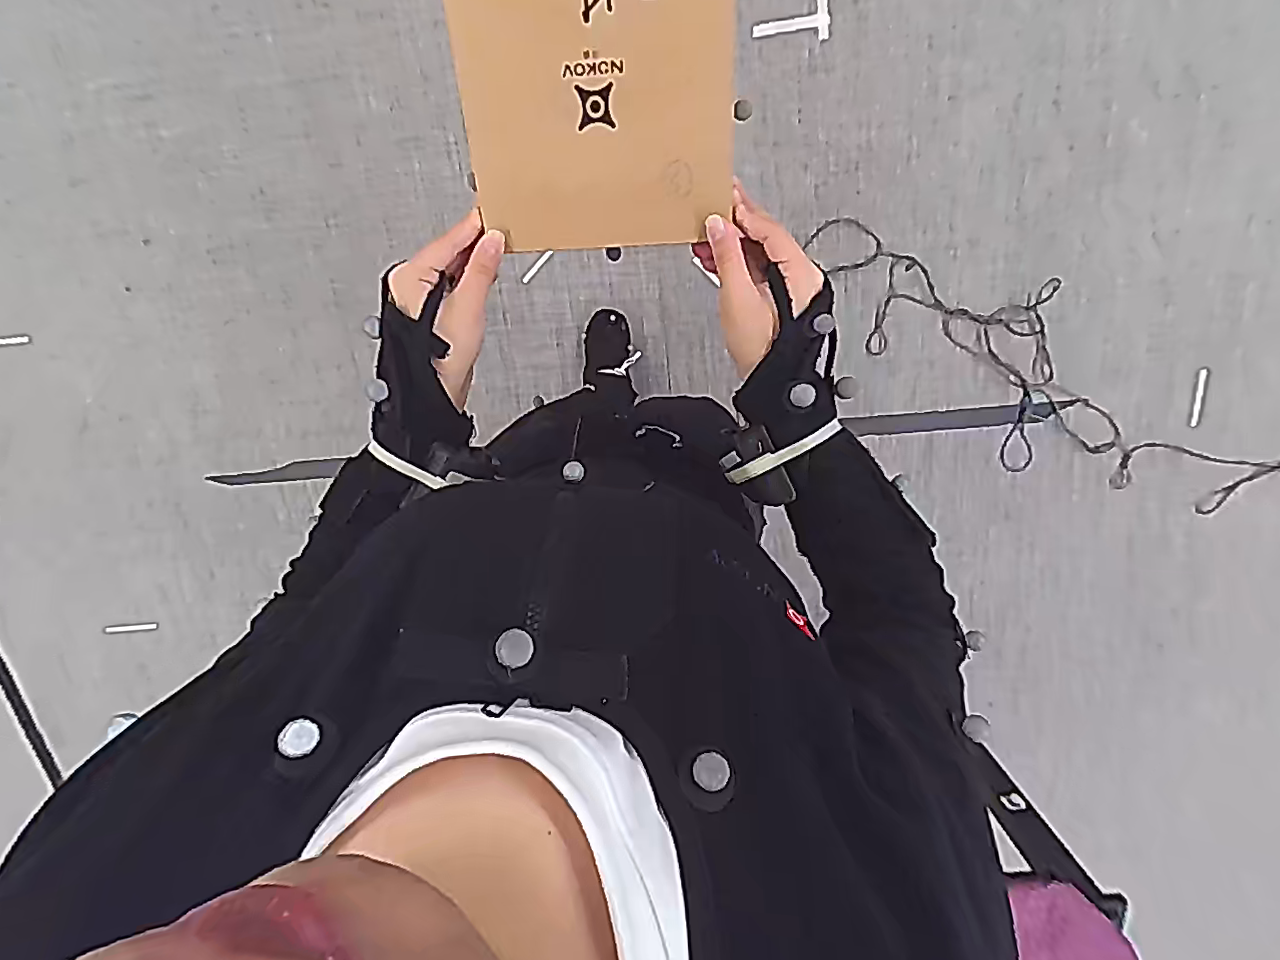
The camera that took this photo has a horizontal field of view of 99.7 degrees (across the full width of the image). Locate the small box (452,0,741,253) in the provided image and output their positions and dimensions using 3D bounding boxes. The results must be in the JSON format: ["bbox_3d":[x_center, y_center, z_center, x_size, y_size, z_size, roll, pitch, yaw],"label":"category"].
[{"bbox_3d":[-0.018,-0.269,0.392,0.168,0.176,0.179,-1,117,4],"label":"small box"}]
